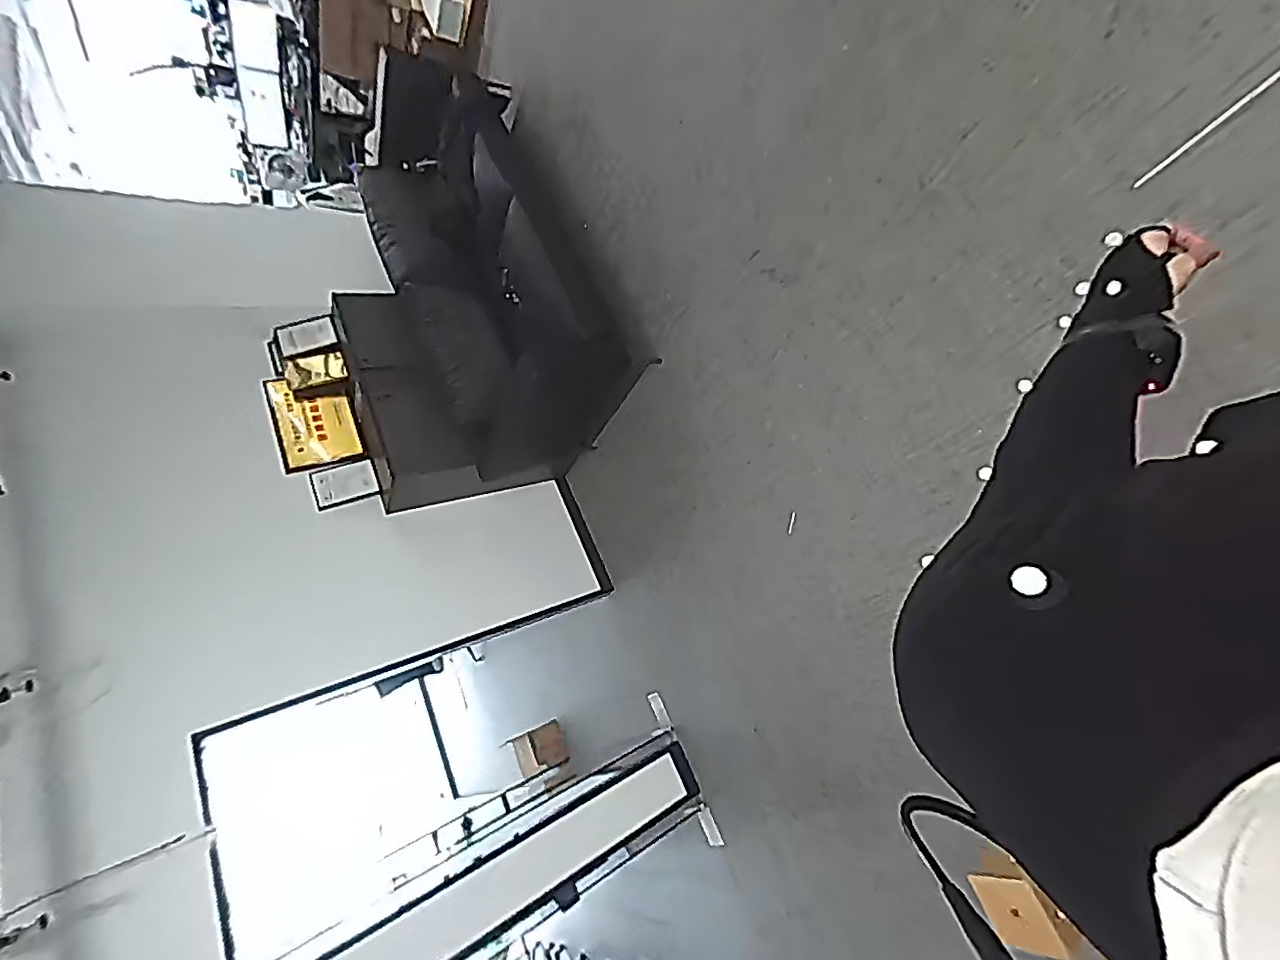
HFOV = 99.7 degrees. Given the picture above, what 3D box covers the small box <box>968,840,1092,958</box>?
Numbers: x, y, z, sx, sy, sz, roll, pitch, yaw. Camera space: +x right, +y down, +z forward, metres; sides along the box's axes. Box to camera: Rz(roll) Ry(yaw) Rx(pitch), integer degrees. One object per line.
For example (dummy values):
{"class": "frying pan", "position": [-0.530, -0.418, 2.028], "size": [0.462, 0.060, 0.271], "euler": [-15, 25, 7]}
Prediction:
{"class": "small box", "position": [0.994, 1.055, 1.381], "size": [0.168, 0.176, 0.179], "euler": [-47, 63, 50]}
